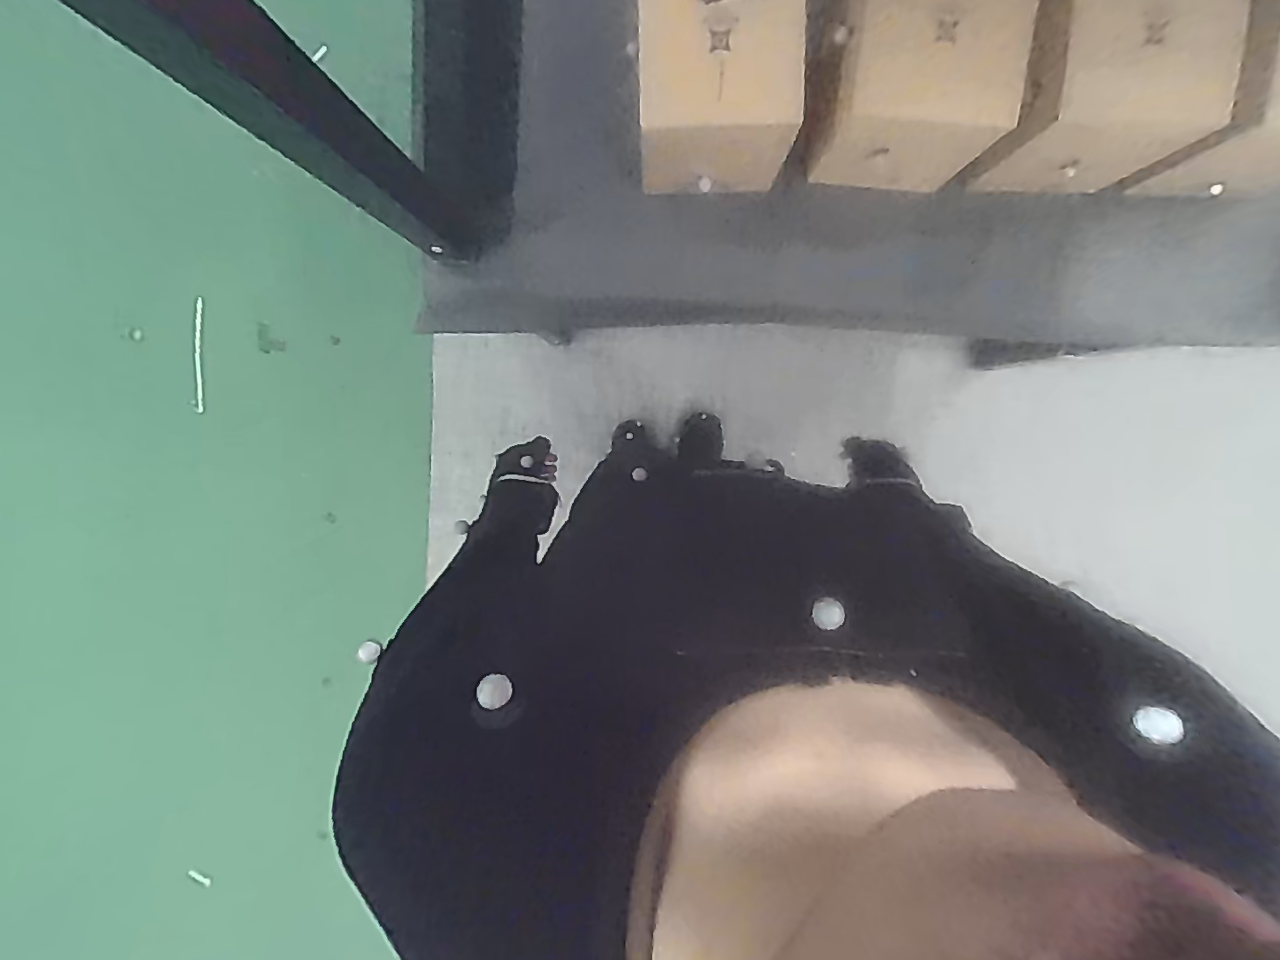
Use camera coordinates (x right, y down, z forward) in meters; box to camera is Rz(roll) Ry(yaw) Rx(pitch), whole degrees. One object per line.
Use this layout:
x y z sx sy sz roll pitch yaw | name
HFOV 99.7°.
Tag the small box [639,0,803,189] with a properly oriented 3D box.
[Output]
0.082 -0.460 0.618 0.168 0.176 0.179 -1 97 2 | small box
